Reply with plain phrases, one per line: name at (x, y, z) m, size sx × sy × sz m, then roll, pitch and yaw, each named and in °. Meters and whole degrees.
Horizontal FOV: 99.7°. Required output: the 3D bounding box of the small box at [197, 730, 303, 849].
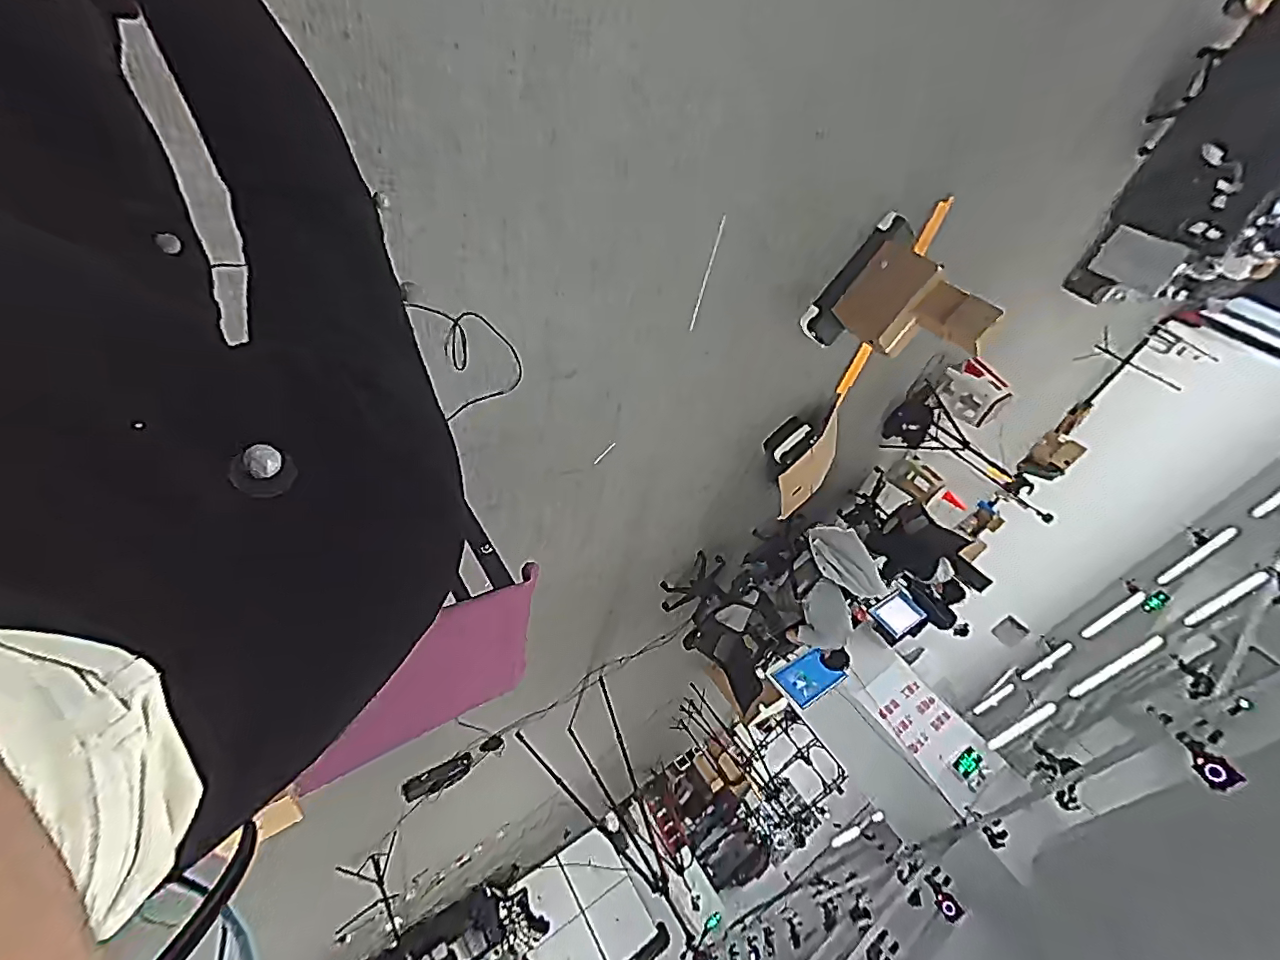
small box at (-0.944, 0.745, 1.314) m, size 0.168 × 0.176 × 0.179 m, roll -18°, pitch 142°, yaw -33°

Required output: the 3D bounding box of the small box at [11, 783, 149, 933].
small box at (-1.159, 0.780, 1.130) m, size 0.179 × 0.176 × 0.168 m, roll -10°, pitch 138°, yaw -41°
